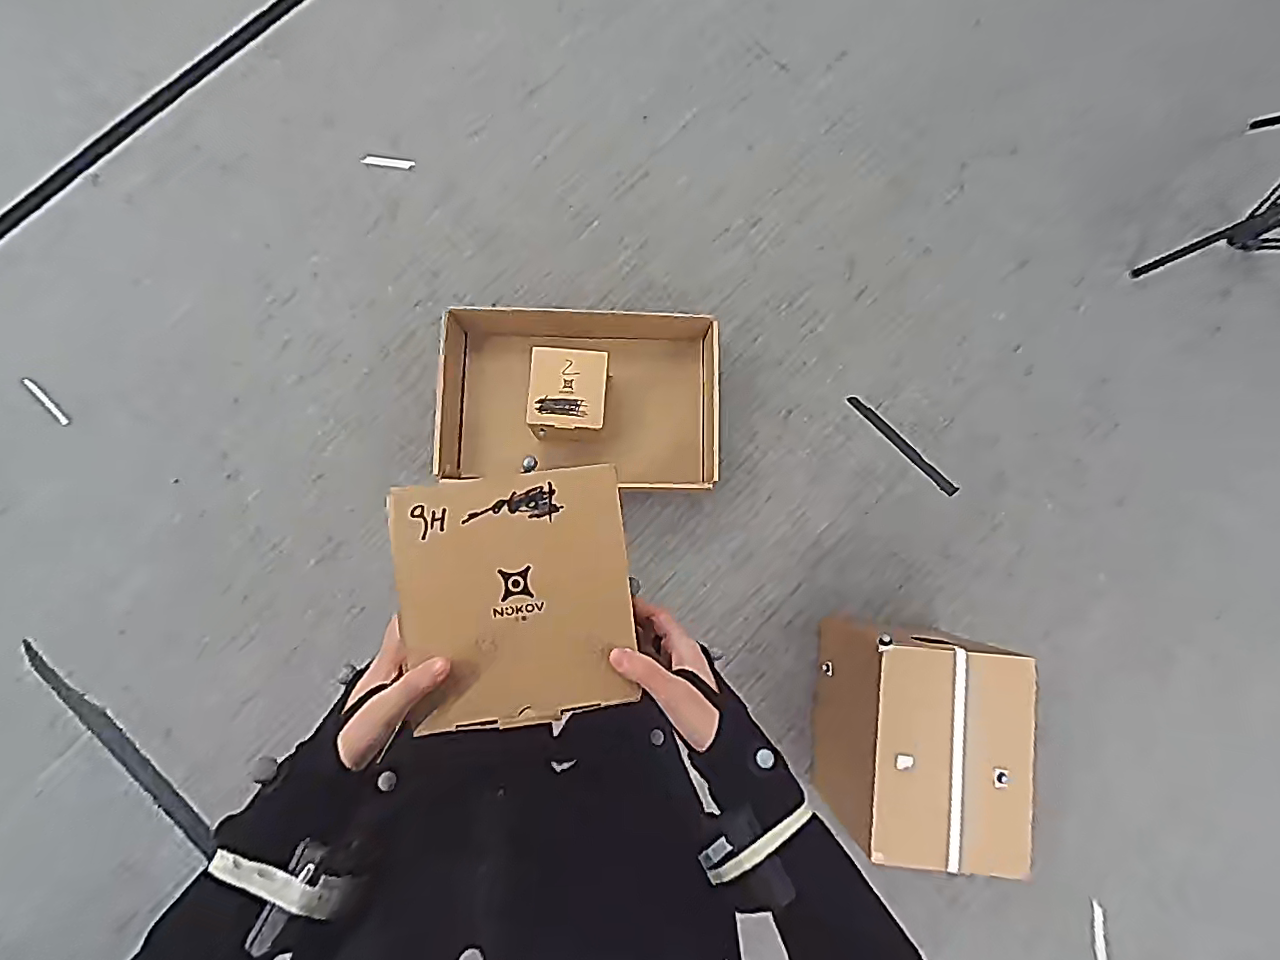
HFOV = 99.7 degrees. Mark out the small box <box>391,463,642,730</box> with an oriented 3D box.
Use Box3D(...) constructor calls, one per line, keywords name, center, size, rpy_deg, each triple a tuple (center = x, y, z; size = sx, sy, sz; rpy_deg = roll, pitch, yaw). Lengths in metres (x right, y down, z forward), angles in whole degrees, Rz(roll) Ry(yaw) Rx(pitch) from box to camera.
Box3D(name="small box", center=(-0.094, 0.083, 0.467), size=(0.168, 0.176, 0.179), rpy_deg=(-7, 88, -7))
